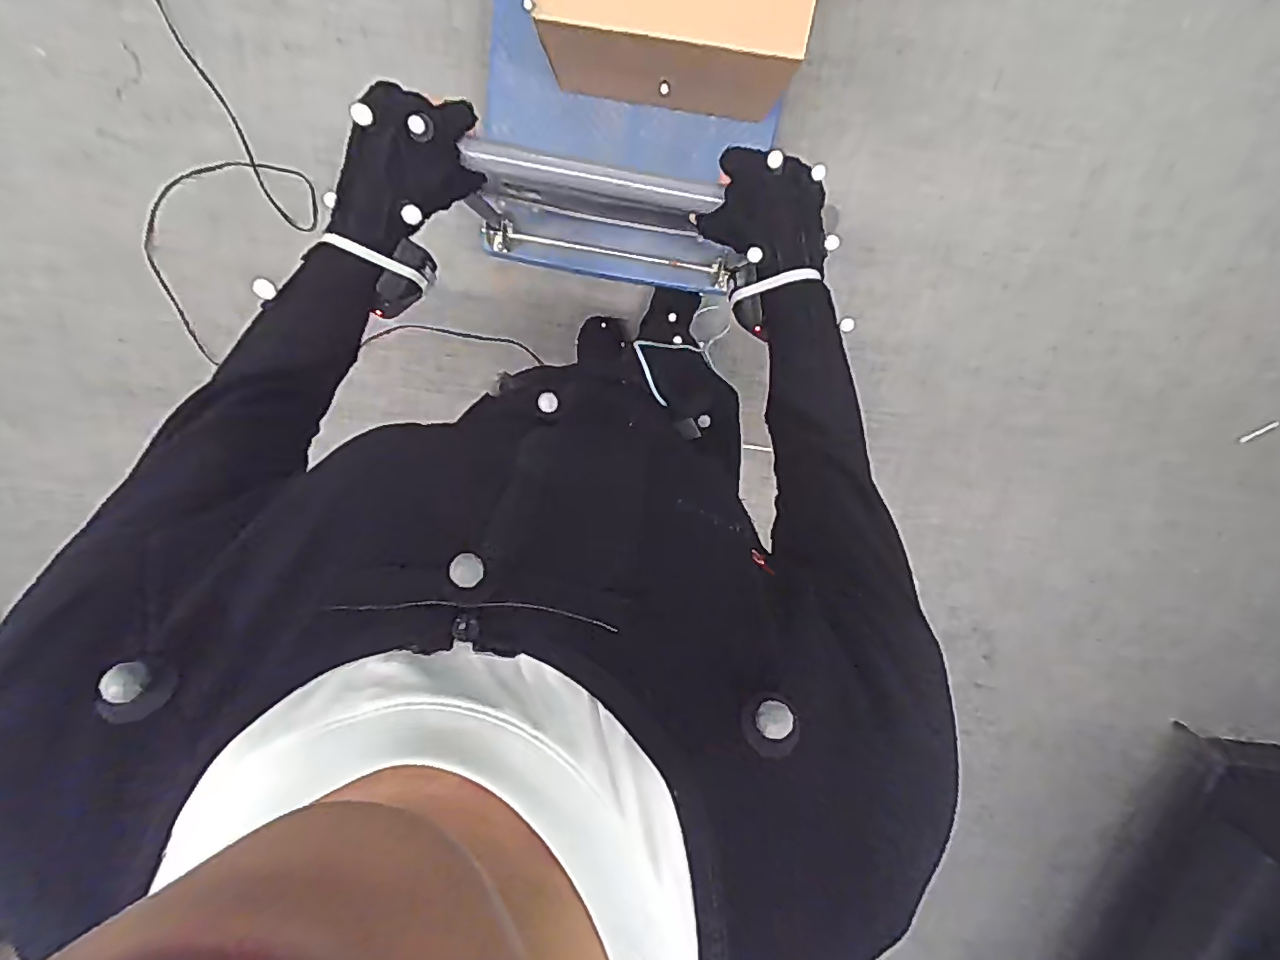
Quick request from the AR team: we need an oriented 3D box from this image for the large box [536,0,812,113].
[{"bbox_3d":[0.067,-0.845,0.888,0.408,0.320,0.320,8,109,-1],"label":"large box"}]
